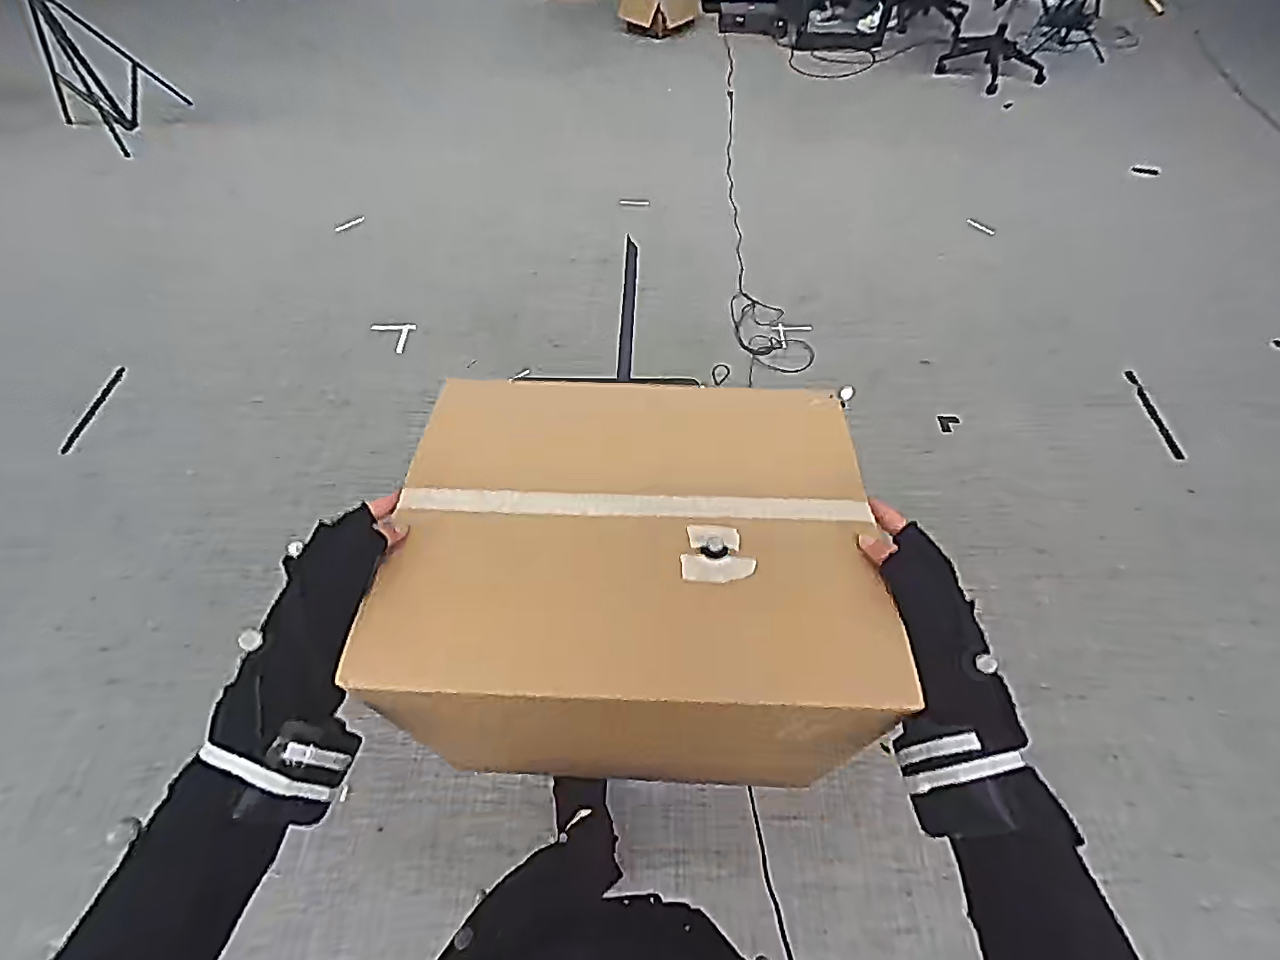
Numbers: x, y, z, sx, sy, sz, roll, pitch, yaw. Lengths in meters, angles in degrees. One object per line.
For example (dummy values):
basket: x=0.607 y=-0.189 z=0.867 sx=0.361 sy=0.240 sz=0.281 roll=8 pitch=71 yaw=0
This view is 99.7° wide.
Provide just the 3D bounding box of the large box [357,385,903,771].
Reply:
large box: x=-0.007 y=0.115 z=0.595 sx=0.408 sy=0.320 sz=0.320 roll=2 pitch=52 yaw=1
